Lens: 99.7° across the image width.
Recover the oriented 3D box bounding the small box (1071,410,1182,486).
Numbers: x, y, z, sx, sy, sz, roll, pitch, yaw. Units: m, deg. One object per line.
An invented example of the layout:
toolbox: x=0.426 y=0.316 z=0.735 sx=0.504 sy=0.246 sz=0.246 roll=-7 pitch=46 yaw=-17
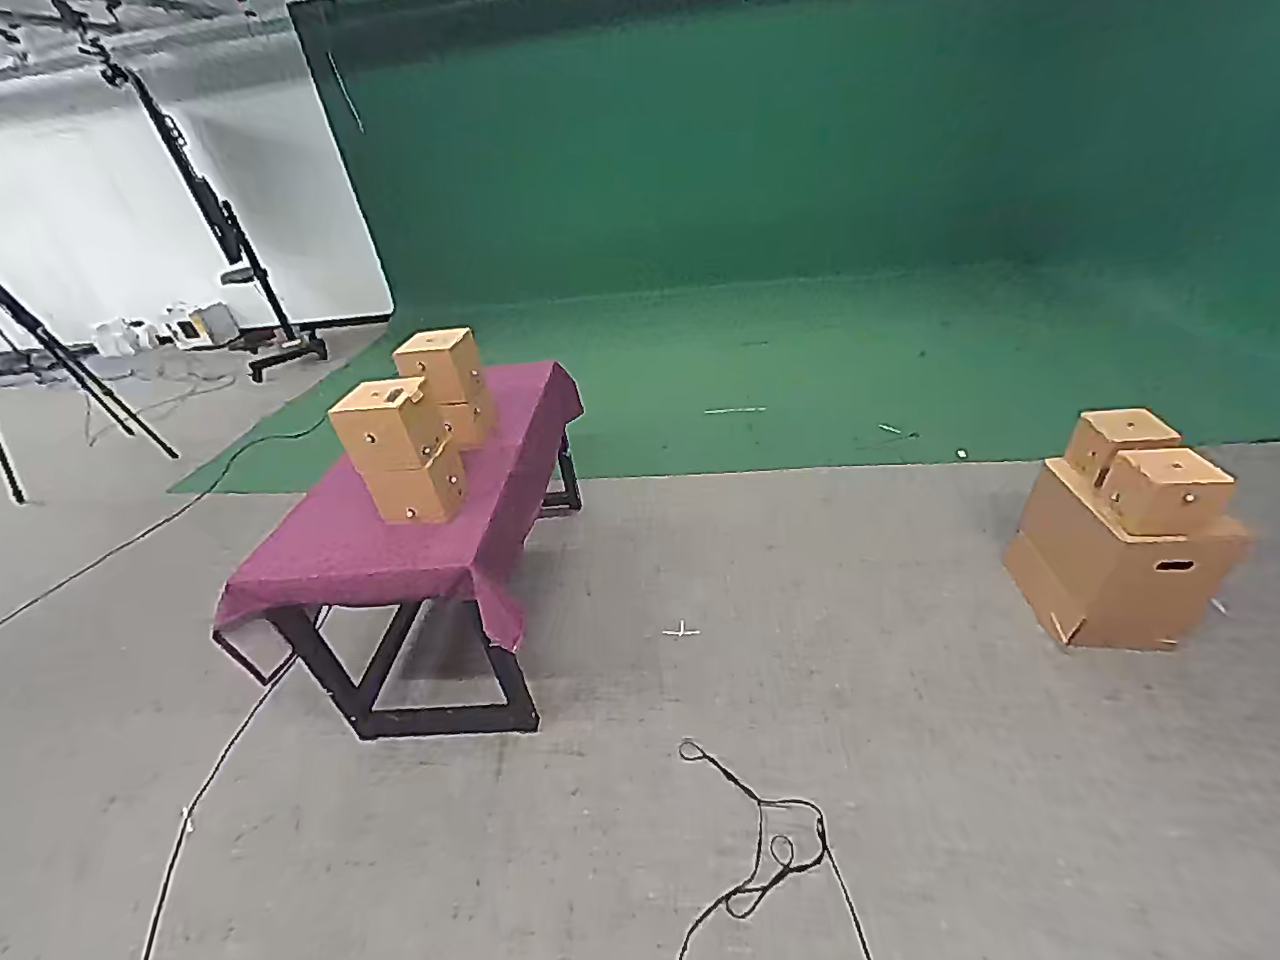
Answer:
small box: x=1.436 y=-0.094 z=1.617 sx=0.179 sy=0.176 sz=0.168 roll=-2 pitch=38 yaw=9

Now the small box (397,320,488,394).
small box: x=-0.578 y=-0.362 z=1.604 sx=0.179 sy=0.176 sz=0.168 roll=-1 pitch=36 yaw=9

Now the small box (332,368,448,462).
small box: x=-0.597 y=-0.158 z=1.320 sx=0.179 sy=0.176 sz=0.168 roll=-3 pitch=35 yaw=9

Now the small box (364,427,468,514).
small box: x=-0.571 y=-0.023 z=1.411 sx=0.179 sy=0.176 sz=0.168 roll=-2 pitch=34 yaw=7

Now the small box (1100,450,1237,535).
small box: x=1.392 y=0.035 z=1.441 sx=0.179 sy=0.176 sz=0.168 roll=-1 pitch=34 yaw=9
